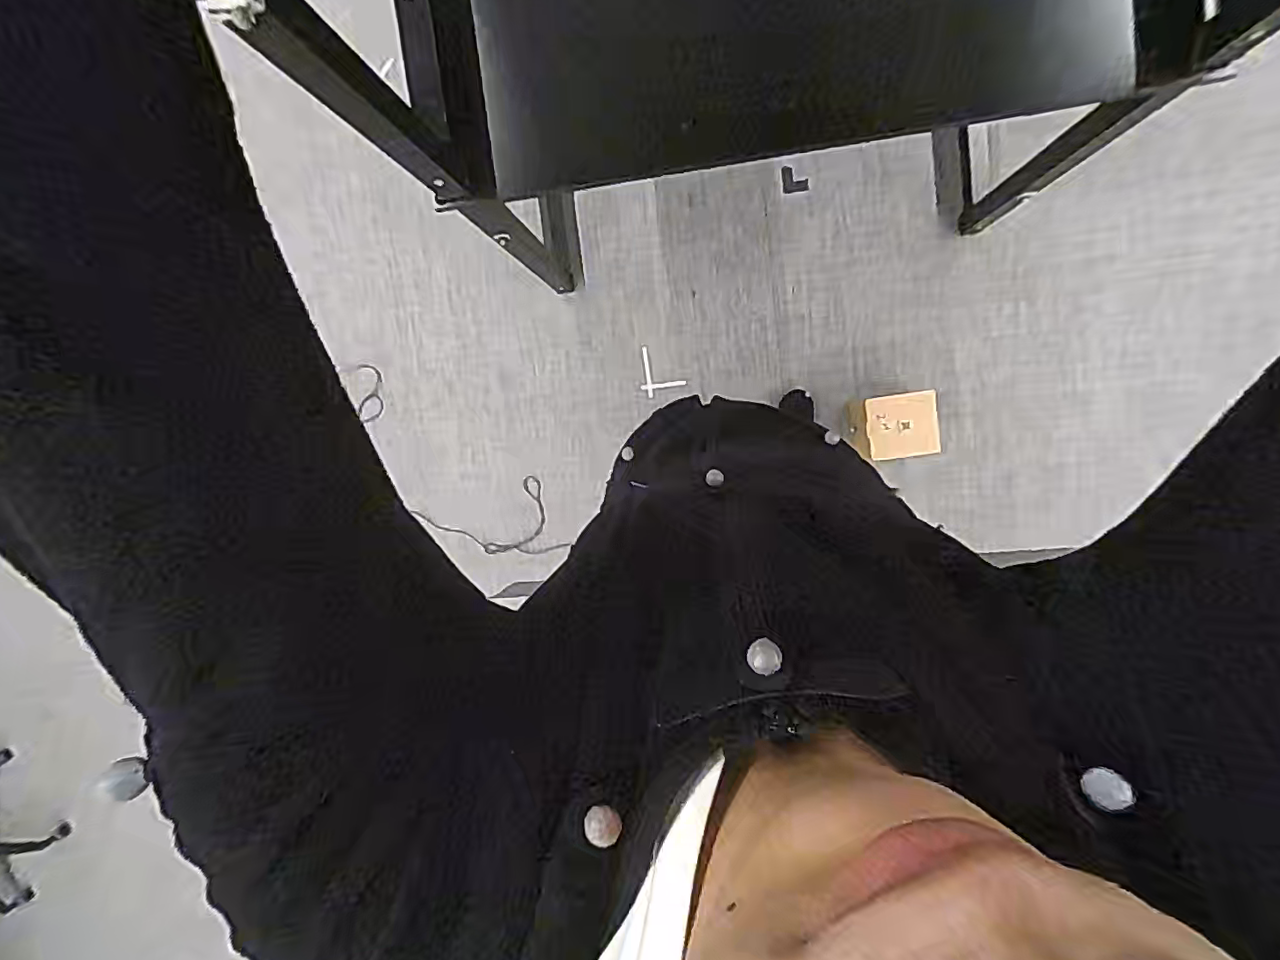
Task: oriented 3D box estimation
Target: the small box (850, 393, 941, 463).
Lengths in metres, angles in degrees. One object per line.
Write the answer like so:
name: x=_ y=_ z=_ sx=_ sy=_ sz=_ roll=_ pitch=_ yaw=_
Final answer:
small box: x=0.691 y=-0.144 z=1.474 sx=0.179 sy=0.176 sz=0.168 roll=-8 pitch=95 yaw=9
